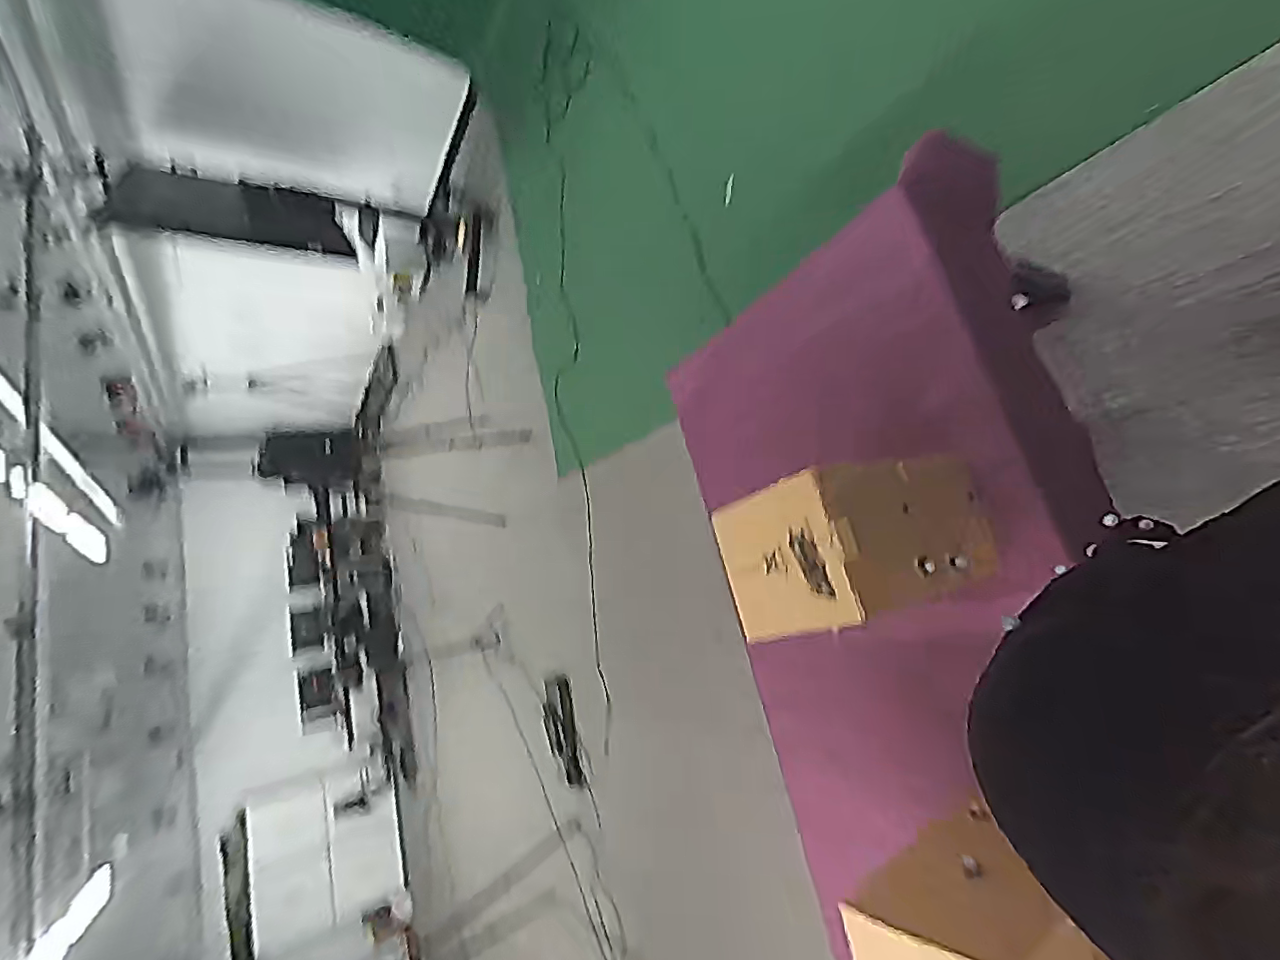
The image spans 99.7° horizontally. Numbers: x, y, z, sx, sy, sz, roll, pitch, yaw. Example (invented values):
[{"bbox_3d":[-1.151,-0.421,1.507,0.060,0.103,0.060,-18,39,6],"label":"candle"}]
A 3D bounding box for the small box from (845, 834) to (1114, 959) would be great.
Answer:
[{"bbox_3d":[0.350,0.497,0.551,0.179,0.176,0.168,-26,74,53],"label":"small box"}]

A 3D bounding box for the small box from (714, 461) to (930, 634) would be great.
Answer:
[{"bbox_3d":[0.228,0.082,0.675,0.179,0.176,0.168,-35,65,52],"label":"small box"}]
